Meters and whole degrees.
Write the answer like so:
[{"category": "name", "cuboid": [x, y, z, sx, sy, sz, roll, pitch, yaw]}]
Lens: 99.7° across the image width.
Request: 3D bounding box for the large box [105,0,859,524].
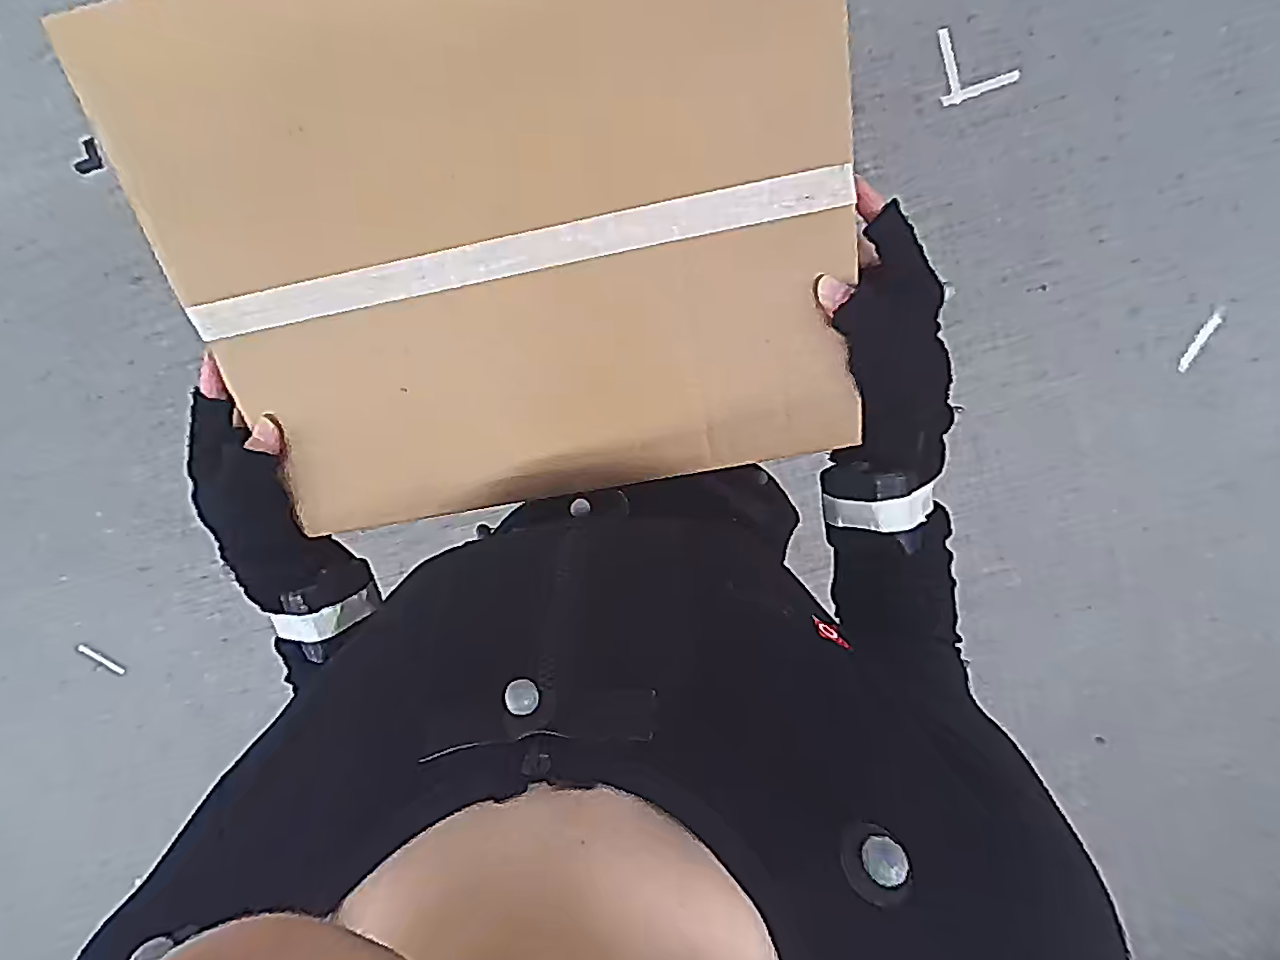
[{"category": "large box", "cuboid": [-0.071, -0.195, 0.469, 0.408, 0.320, 0.320, -10, 114, 5]}]
